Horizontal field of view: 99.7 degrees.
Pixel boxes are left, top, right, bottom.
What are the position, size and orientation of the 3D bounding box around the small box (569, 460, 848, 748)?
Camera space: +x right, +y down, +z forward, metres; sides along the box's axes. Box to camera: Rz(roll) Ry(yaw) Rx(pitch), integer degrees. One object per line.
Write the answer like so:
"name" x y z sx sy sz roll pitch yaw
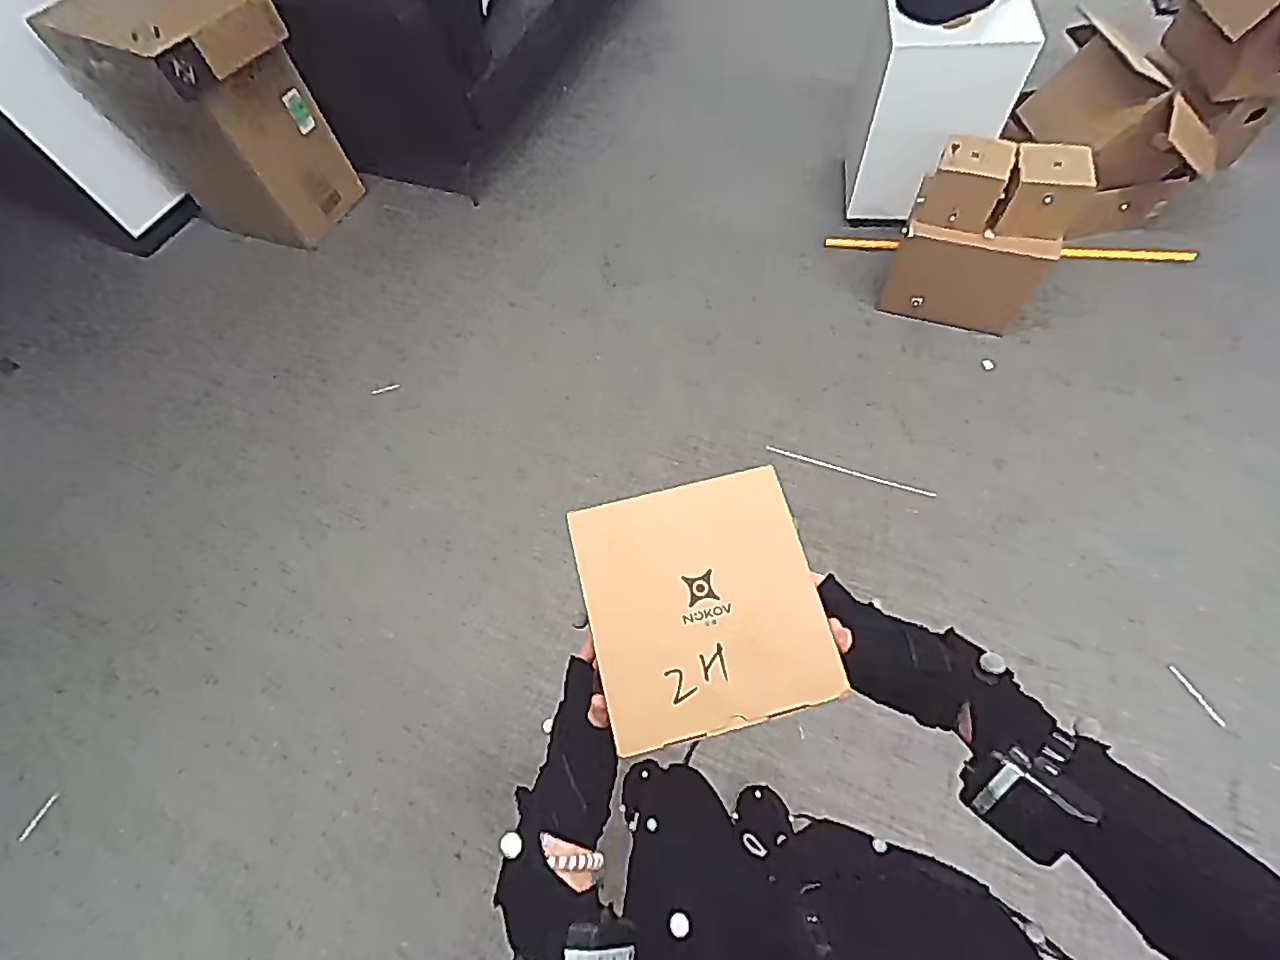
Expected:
"small box" 0.043 0.106 0.459 0.168 0.176 0.179 -13 72 -4
